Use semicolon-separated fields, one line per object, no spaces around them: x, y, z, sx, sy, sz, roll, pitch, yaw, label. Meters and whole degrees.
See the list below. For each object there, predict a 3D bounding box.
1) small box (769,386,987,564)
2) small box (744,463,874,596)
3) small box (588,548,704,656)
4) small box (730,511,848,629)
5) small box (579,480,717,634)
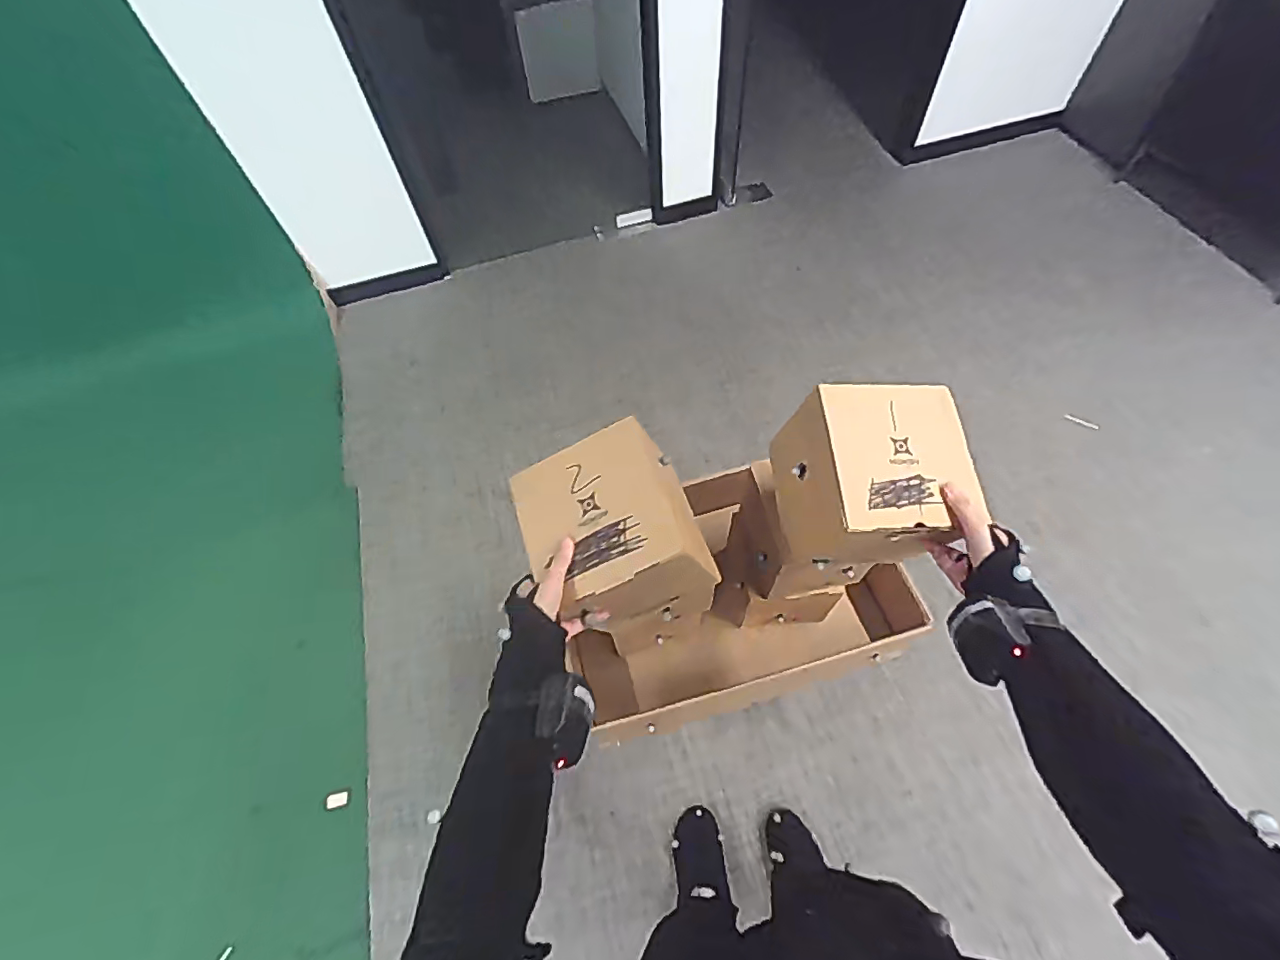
0.271;0.003;0.661;0.168;0.176;0.179;-1;68;-7;small box
0.275;0.078;0.880;0.168;0.176;0.179;-10;59;-2;small box
0.011;0.206;1.012;0.168;0.176;0.179;-18;60;-6;small box
0.268;0.166;1.018;0.168;0.176;0.179;-6;60;1;small box
0.013;0.132;0.865;0.168;0.176;0.179;-18;60;-7;small box
